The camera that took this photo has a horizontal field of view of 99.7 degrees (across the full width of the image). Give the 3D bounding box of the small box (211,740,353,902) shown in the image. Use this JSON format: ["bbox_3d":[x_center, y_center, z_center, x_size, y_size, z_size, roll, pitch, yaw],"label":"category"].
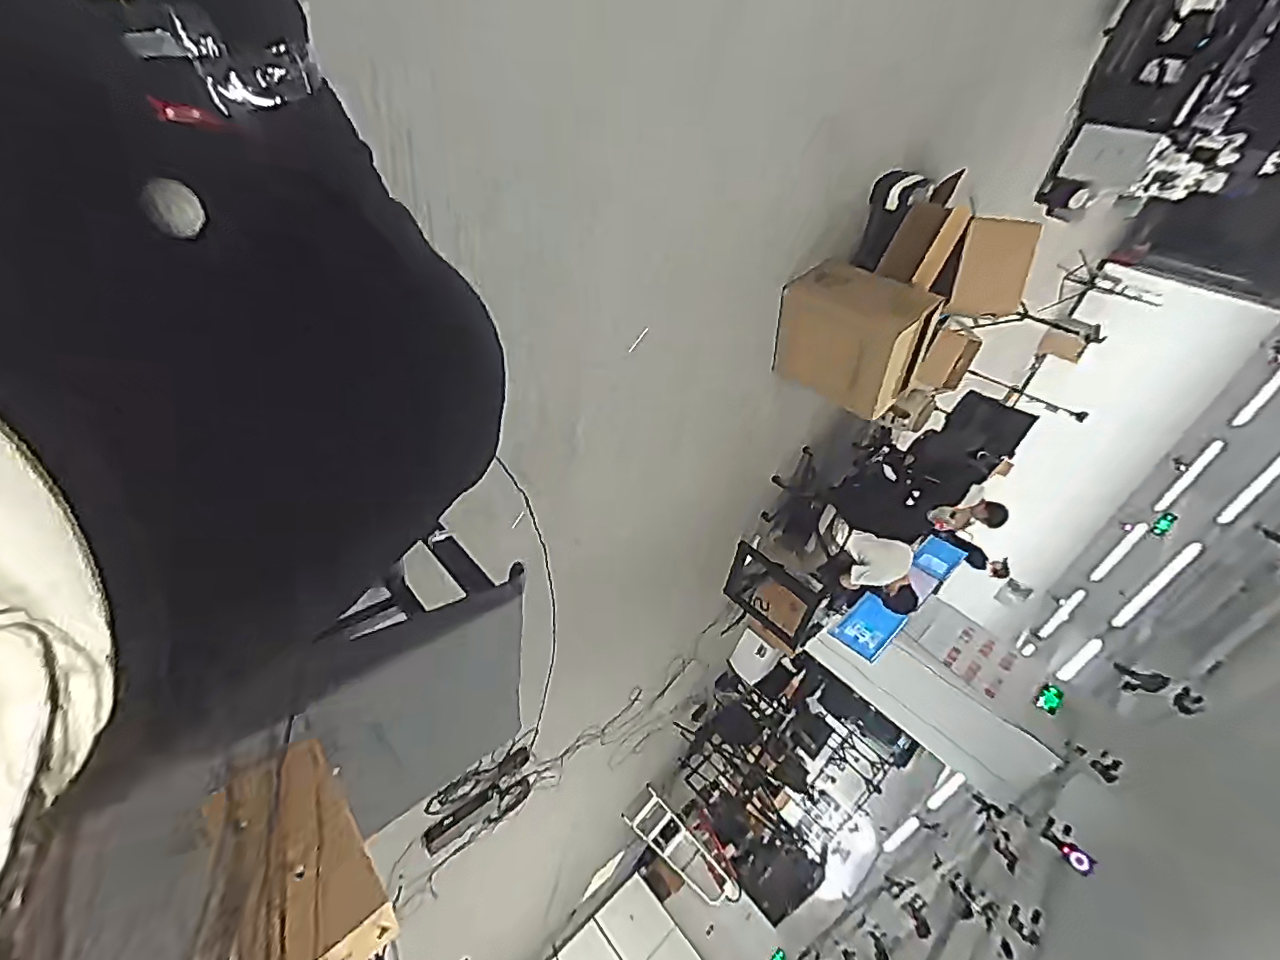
[{"bbox_3d":[-0.624,0.610,0.957,0.179,0.176,0.168,-26,141,-38],"label":"small box"}]

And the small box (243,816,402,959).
[{"bbox_3d":[-0.514,0.701,0.877,0.179,0.176,0.168,-23,139,-38],"label":"small box"}]
